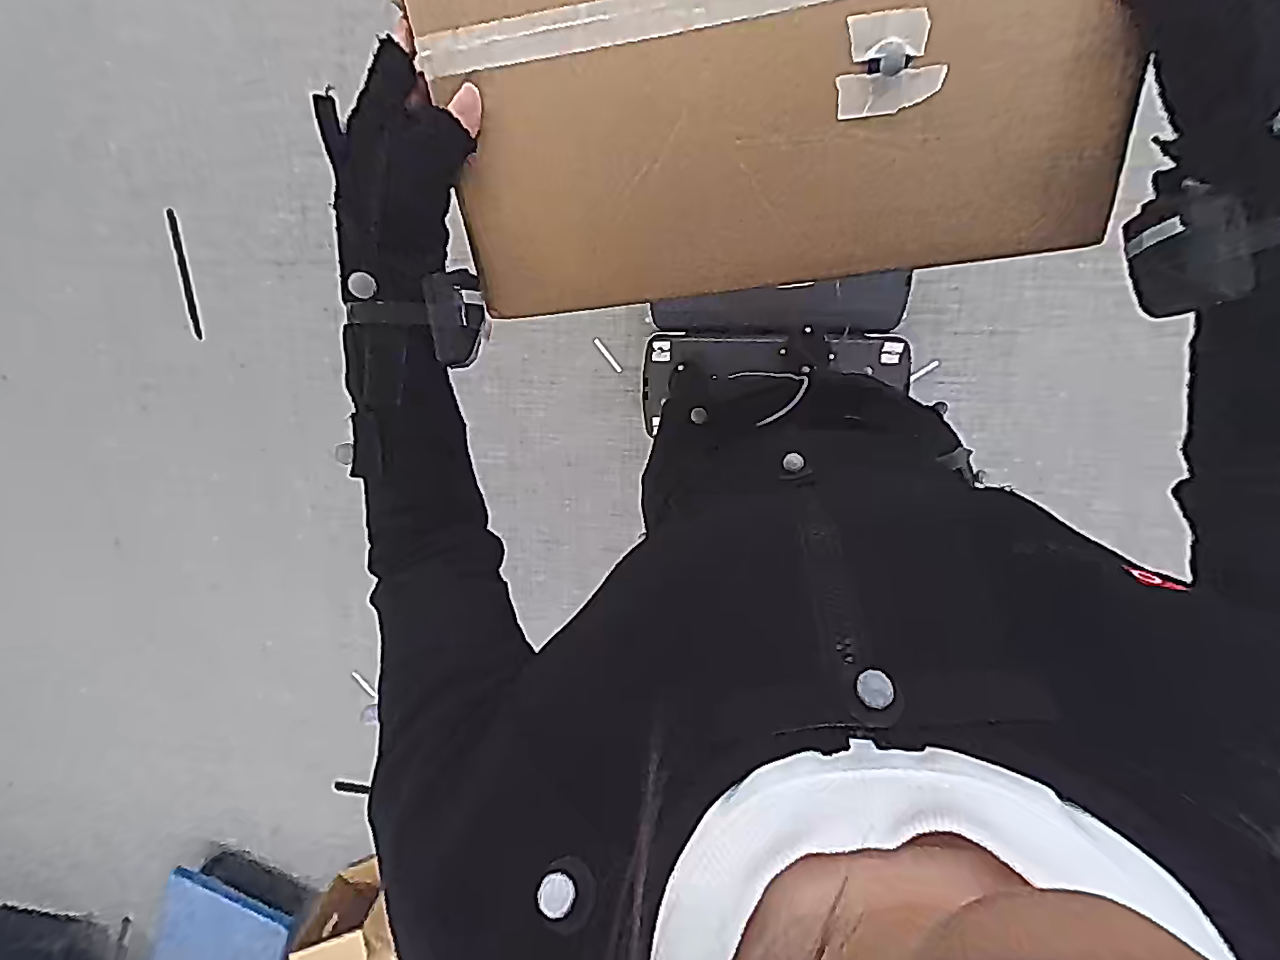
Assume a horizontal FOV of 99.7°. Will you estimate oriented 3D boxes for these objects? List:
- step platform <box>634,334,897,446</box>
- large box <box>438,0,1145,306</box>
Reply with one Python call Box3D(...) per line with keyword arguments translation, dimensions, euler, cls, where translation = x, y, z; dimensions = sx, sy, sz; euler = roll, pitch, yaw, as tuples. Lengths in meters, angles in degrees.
Box3D(translation=(0.325, -0.249, 1.473), dimensions=(0.684, 0.204, 0.286), euler=(2, 106, 10), cls="step platform")
Box3D(translation=(0.089, -0.348, 0.441), dimensions=(0.408, 0.320, 0.320), euler=(-4, 117, 8), cls="large box")
